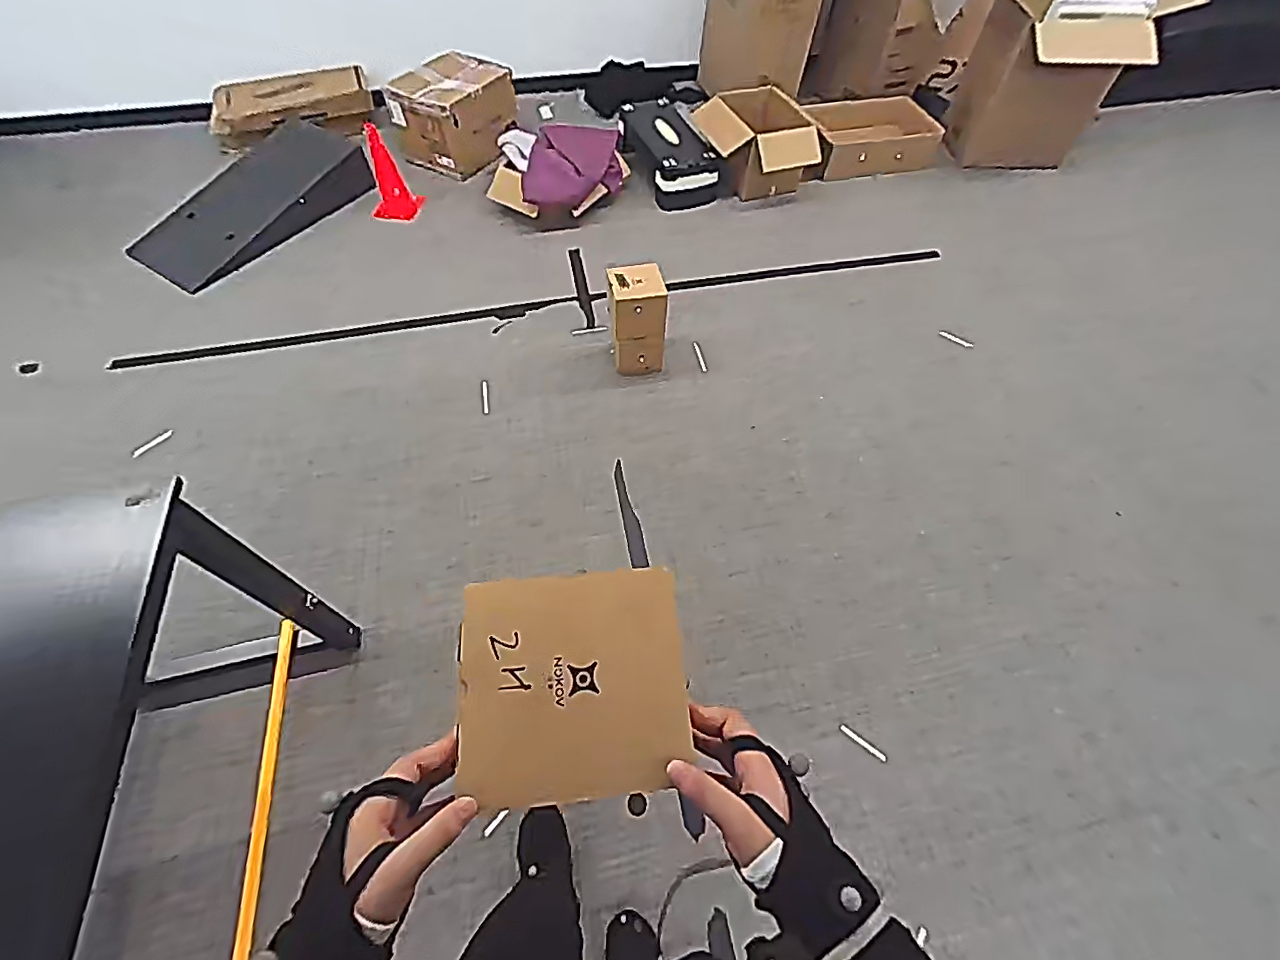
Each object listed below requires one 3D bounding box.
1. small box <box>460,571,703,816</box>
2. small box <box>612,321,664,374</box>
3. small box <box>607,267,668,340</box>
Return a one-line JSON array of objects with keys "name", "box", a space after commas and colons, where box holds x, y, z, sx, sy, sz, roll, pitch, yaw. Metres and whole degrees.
[{"name": "small box", "box": [-0.052, 0.189, 0.489, 0.179, 0.176, 0.168, -5, 65, -5]}, {"name": "small box", "box": [-0.008, -0.501, 1.965, 0.168, 0.176, 0.179, -9, 58, -7]}, {"name": "small box", "box": [-0.010, -0.592, 1.826, 0.179, 0.176, 0.168, -9, 58, -8]}]
